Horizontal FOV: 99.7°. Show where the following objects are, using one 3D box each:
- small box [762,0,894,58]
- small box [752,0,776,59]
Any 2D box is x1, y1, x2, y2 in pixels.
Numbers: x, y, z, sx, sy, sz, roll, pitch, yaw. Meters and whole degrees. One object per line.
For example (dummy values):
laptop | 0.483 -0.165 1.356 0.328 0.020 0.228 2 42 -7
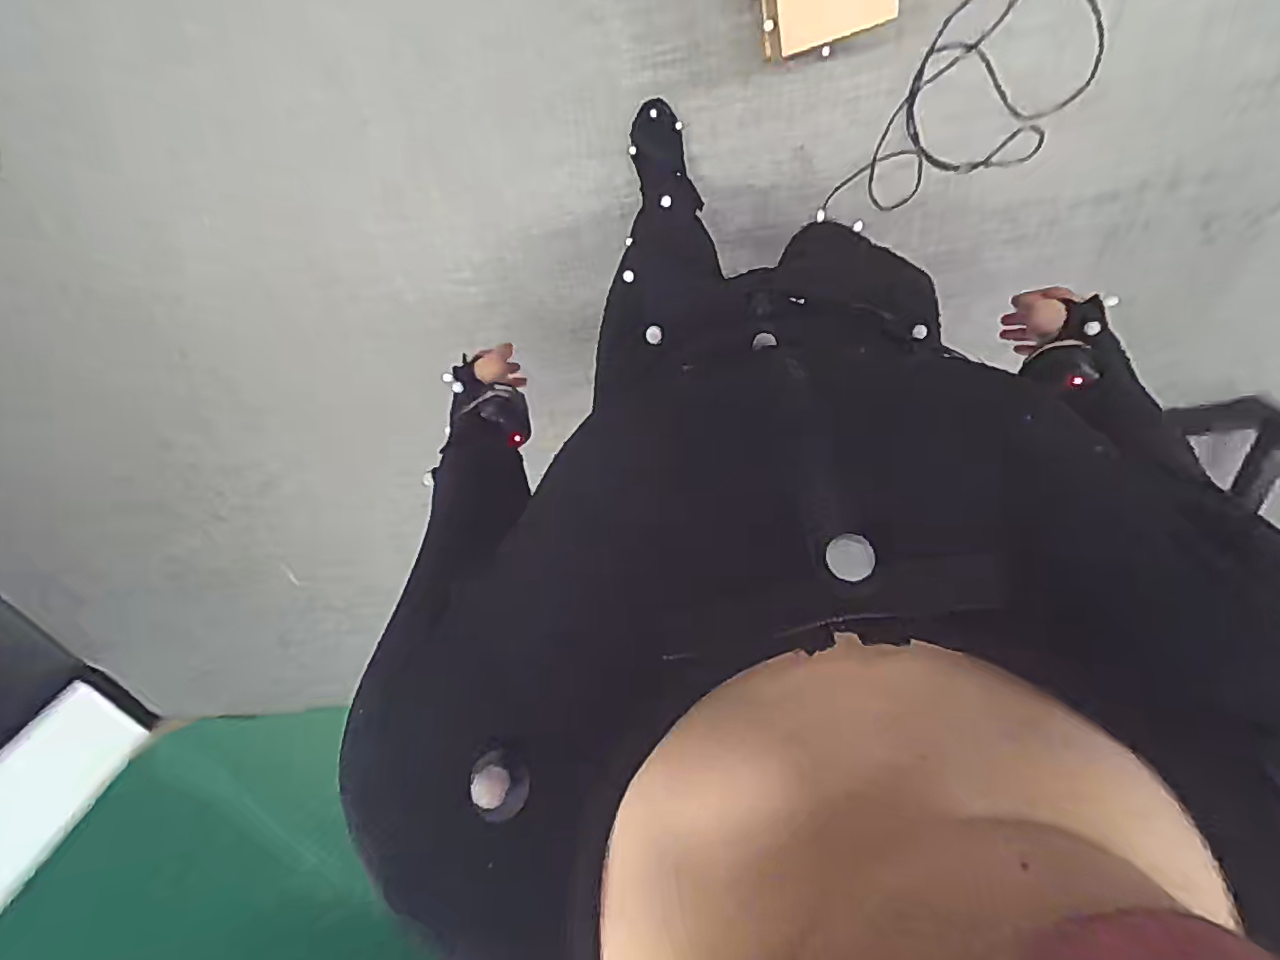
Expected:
small box | 0.276 -0.771 0.820 0.168 0.176 0.179 -11 123 14
small box | 0.287 -0.871 0.952 0.168 0.176 0.179 -9 123 13
